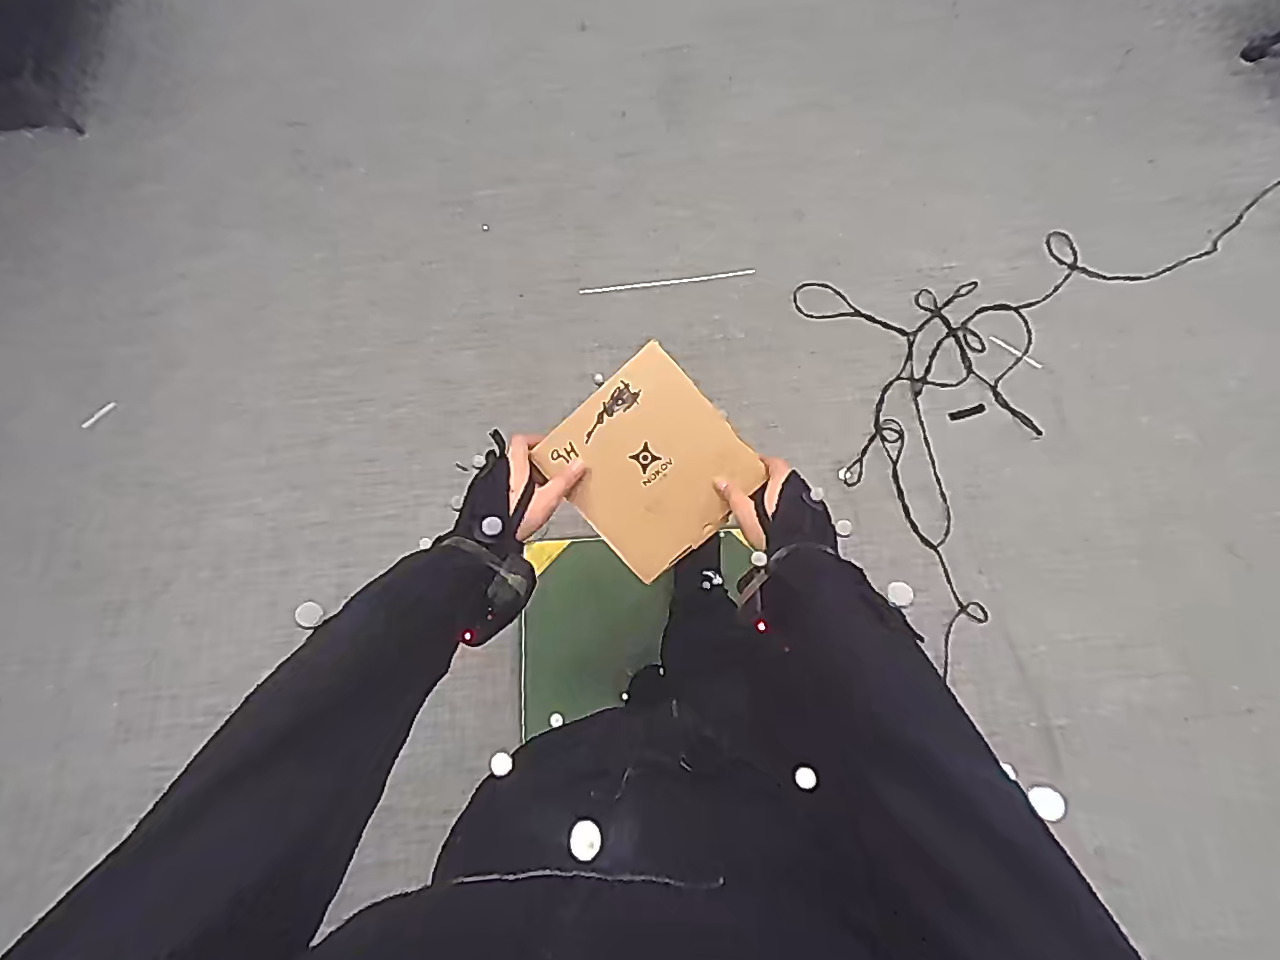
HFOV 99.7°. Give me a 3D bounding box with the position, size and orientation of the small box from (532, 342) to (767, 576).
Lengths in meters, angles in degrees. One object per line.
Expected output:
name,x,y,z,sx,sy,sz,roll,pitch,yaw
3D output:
small box,0.011,-0.026,0.606,0.168,0.176,0.179,-42,94,3
